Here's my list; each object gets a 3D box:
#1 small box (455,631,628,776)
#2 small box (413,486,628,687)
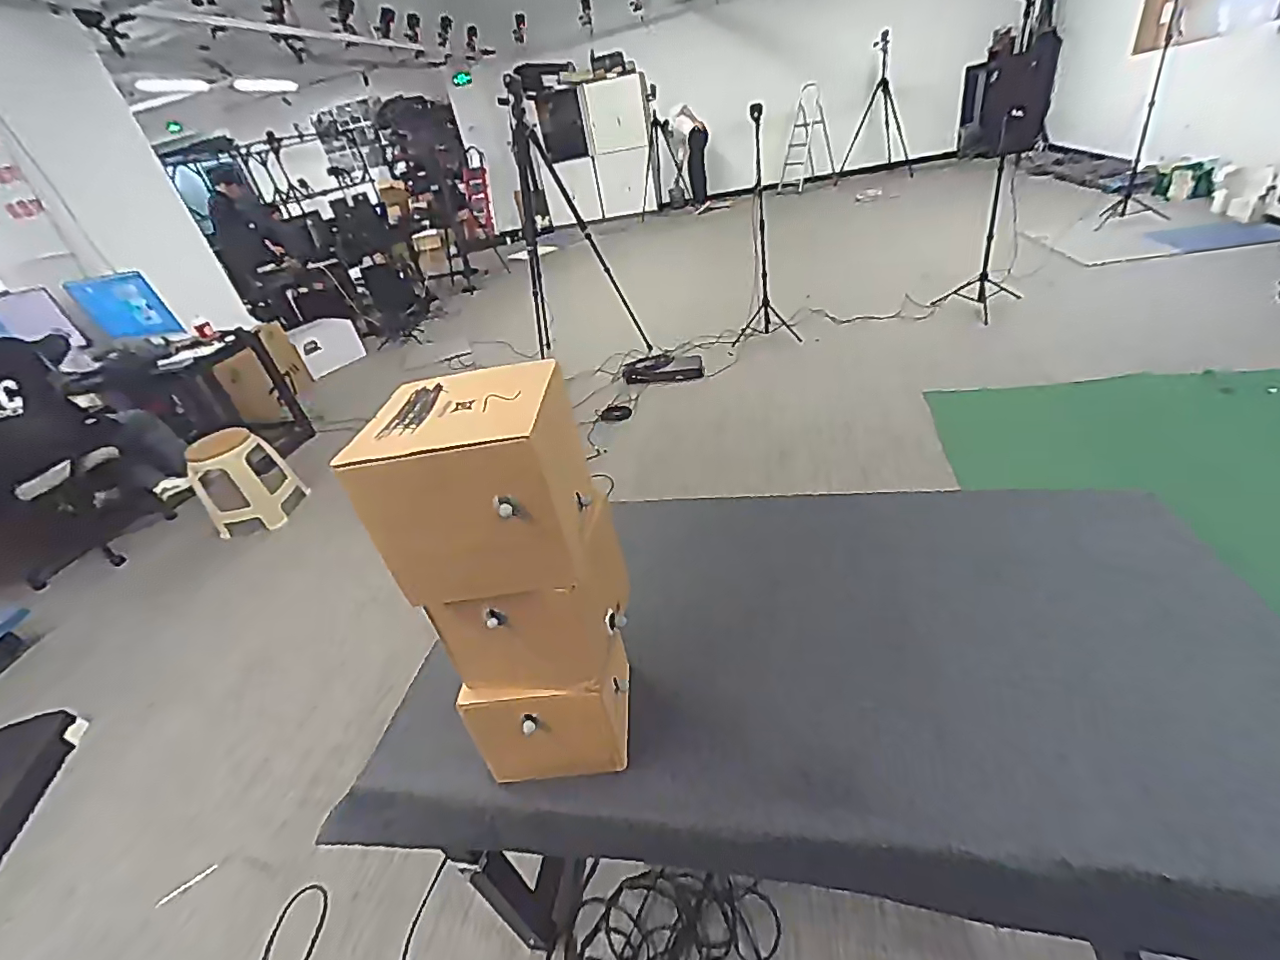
[{"bbox_3d":[-0.113,0.267,0.721,0.179,0.176,0.168,-8,33,6],"label":"small box"},{"bbox_3d":[-0.125,0.125,0.641,0.179,0.176,0.168,-3,35,13],"label":"small box"}]
